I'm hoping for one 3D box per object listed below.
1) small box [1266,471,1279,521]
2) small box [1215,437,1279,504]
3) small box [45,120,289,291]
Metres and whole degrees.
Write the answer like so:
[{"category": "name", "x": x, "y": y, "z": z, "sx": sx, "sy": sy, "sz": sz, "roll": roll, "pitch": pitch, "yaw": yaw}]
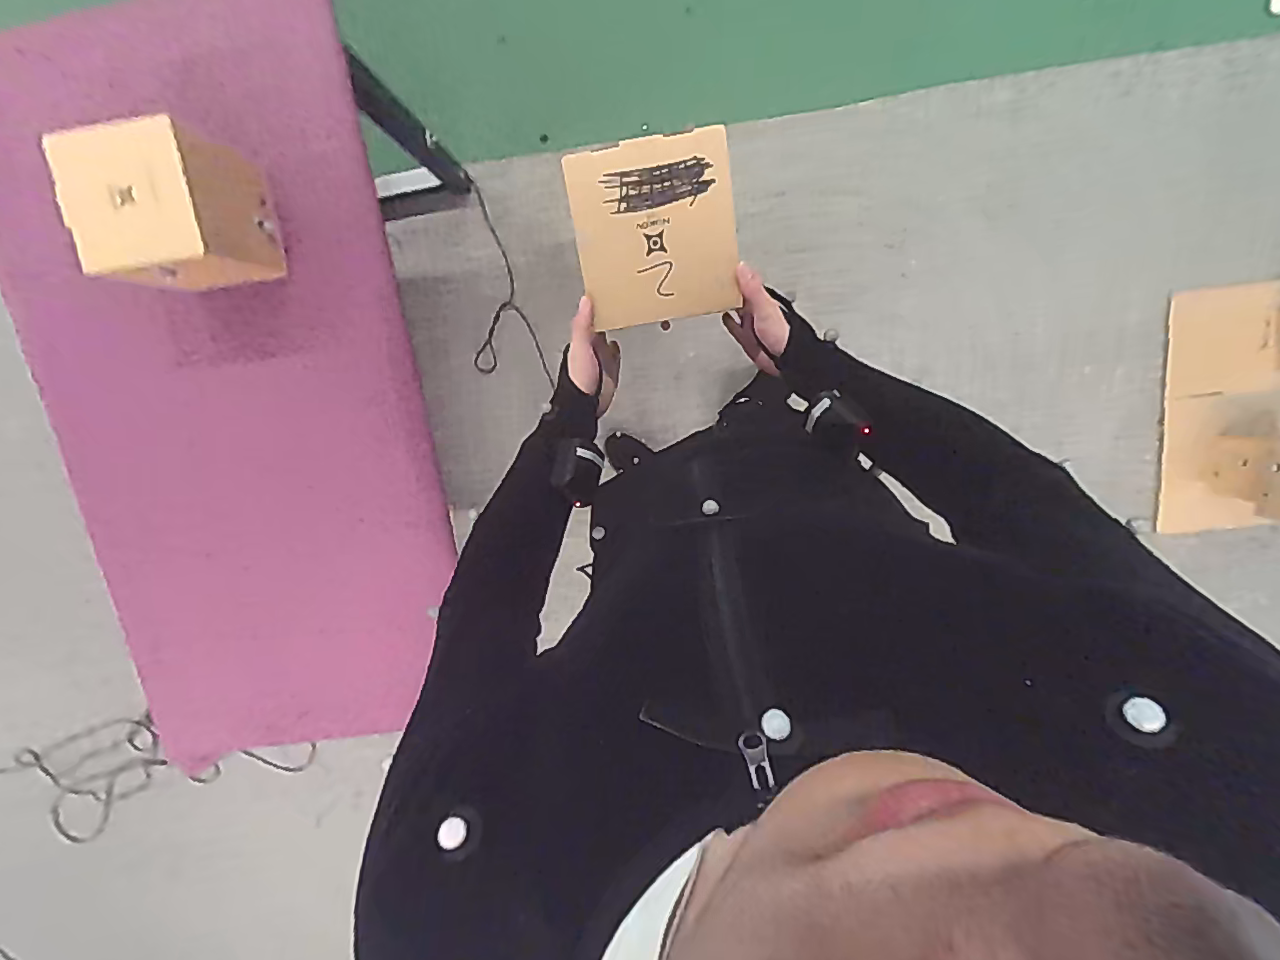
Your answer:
[{"category": "small box", "x": 1.679, "y": 0.036, "z": 1.286, "sx": 0.179, "sy": 0.176, "sz": 0.168, "roll": 2, "pitch": 101, "yaw": 1}, {"category": "small box", "x": 1.710, "y": -0.025, "z": 1.441, "sx": 0.179, "sy": 0.176, "sz": 0.168, "roll": -2, "pitch": 100, "yaw": 2}, {"category": "small box", "x": -0.646, "y": -0.371, "z": 0.762, "sx": 0.179, "sy": 0.176, "sz": 0.168, "roll": -6, "pitch": 102, "yaw": 5}]
